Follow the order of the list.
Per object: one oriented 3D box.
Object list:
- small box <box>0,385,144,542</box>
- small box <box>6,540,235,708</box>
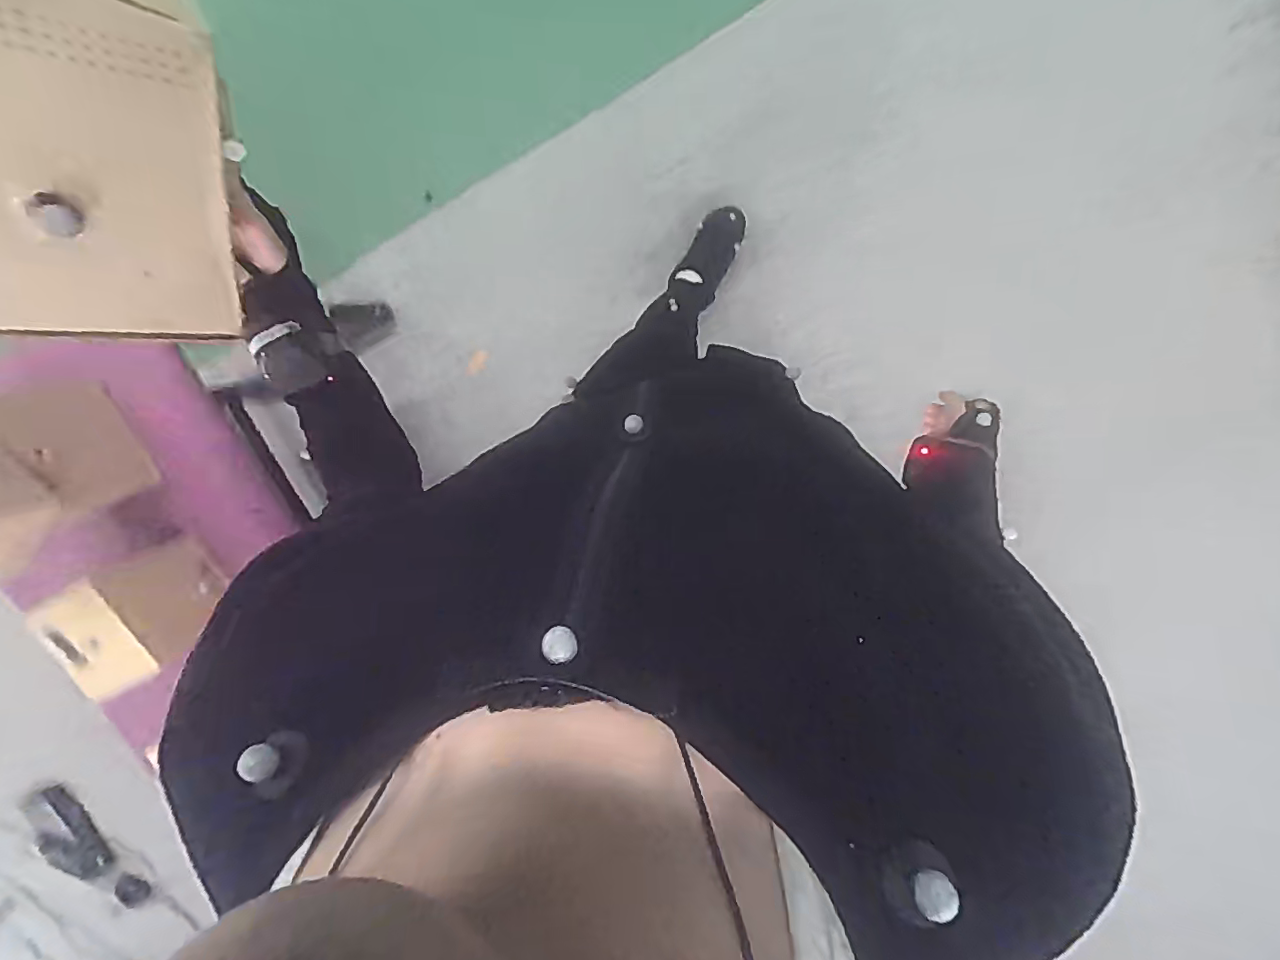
[{"bbox_3d":[-0.910,-0.023,0.801,0.168,0.176,0.179,-20,105,15],"label":"small box"},{"bbox_3d":[-0.817,0.224,0.870,0.179,0.176,0.168,-26,103,15],"label":"small box"}]
